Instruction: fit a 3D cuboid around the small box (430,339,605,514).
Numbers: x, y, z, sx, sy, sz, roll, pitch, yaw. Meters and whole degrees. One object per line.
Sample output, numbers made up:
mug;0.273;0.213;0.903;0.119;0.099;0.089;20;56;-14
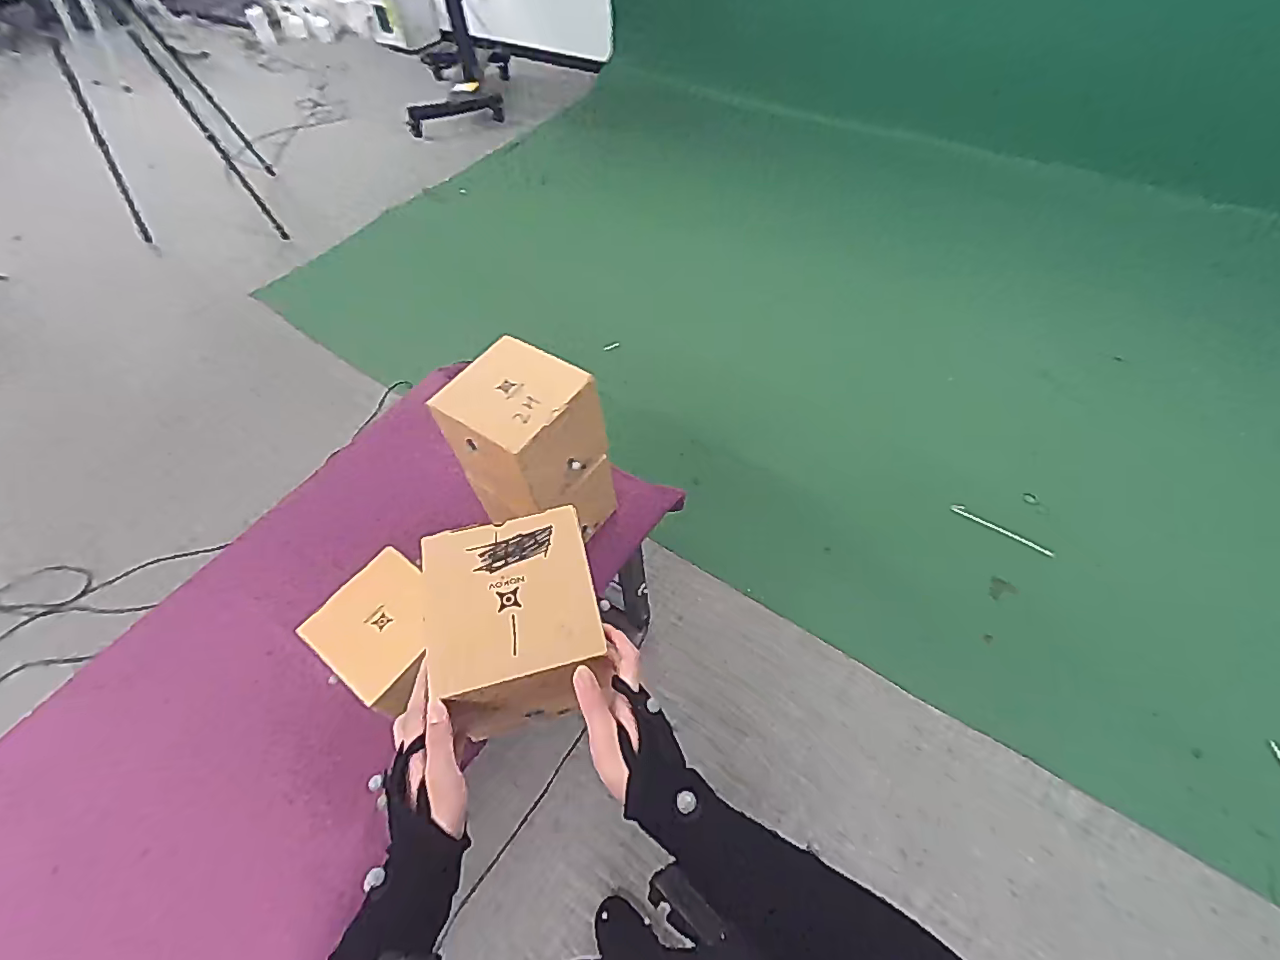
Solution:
small box;-0.175;-0.077;0.821;0.179;0.176;0.168;29;63;22

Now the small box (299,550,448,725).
small box;-0.353;0.244;0.816;0.179;0.176;0.168;30;62;24

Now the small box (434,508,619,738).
small box;-0.121;0.160;0.600;0.168;0.176;0.179;-12;54;-8
